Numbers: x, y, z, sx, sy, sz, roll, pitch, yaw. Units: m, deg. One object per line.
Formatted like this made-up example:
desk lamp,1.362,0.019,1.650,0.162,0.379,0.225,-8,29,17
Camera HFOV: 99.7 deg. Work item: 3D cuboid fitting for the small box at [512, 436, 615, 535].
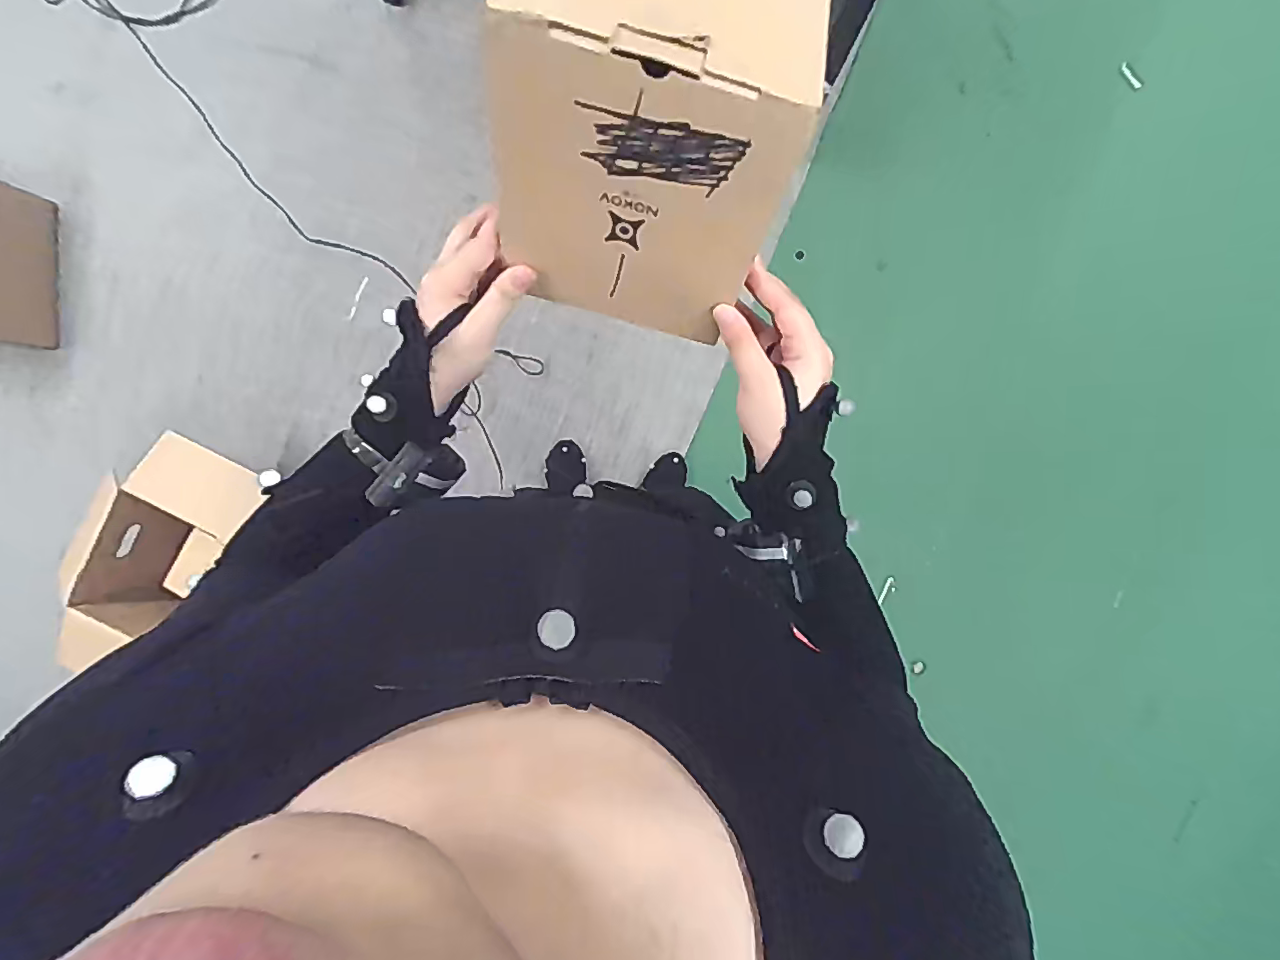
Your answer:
small box,-0.188,0.011,1.391,0.179,0.168,0.176,-48,122,-19
